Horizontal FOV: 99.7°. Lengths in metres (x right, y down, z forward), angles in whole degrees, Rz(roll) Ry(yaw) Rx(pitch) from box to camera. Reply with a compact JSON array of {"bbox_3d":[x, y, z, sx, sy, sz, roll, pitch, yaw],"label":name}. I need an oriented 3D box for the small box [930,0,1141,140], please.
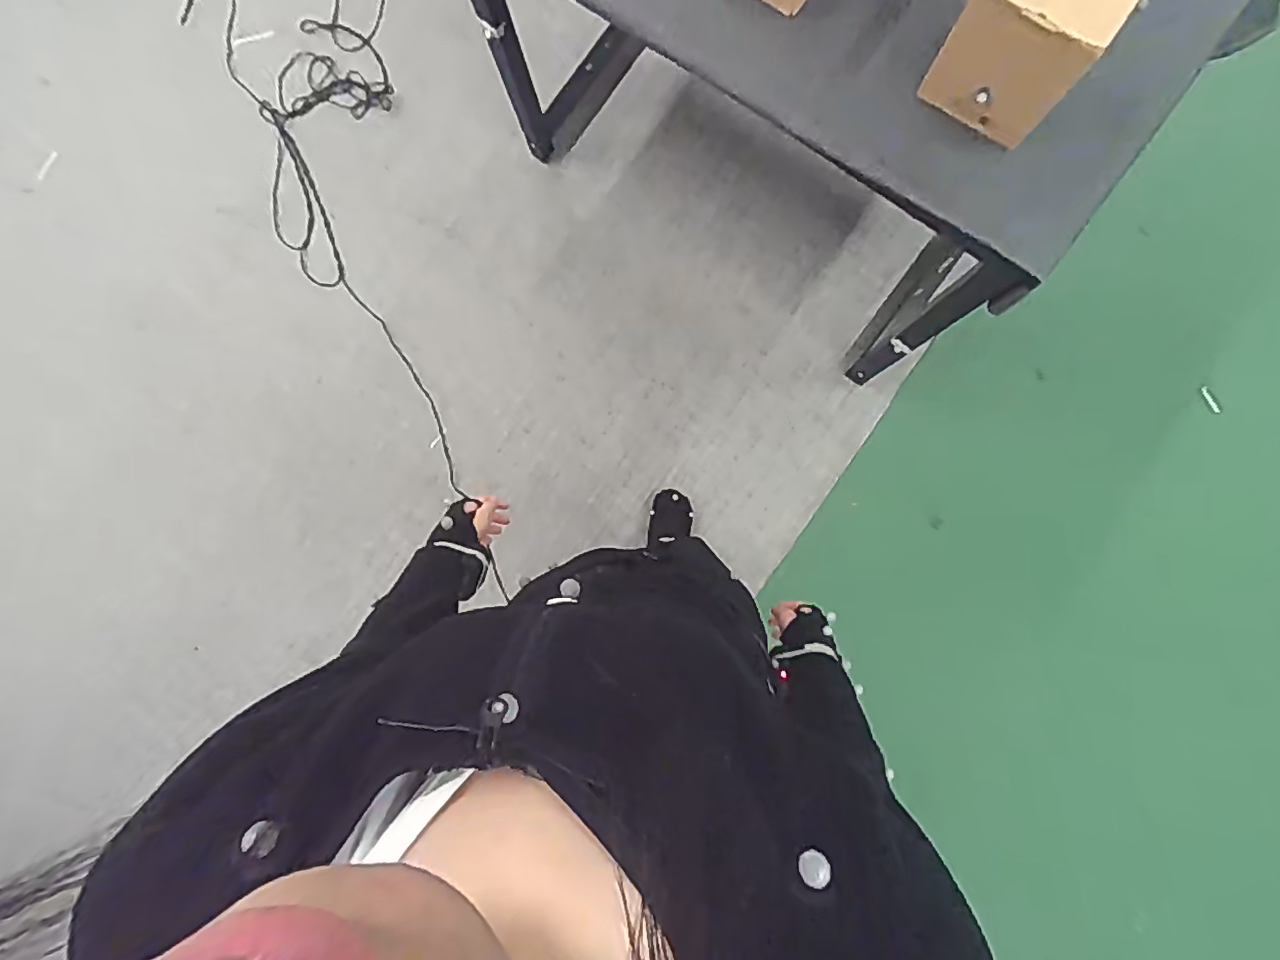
[{"bbox_3d":[0.521,-0.603,0.706,0.168,0.176,0.179,35,89,6],"label":"small box"}]
